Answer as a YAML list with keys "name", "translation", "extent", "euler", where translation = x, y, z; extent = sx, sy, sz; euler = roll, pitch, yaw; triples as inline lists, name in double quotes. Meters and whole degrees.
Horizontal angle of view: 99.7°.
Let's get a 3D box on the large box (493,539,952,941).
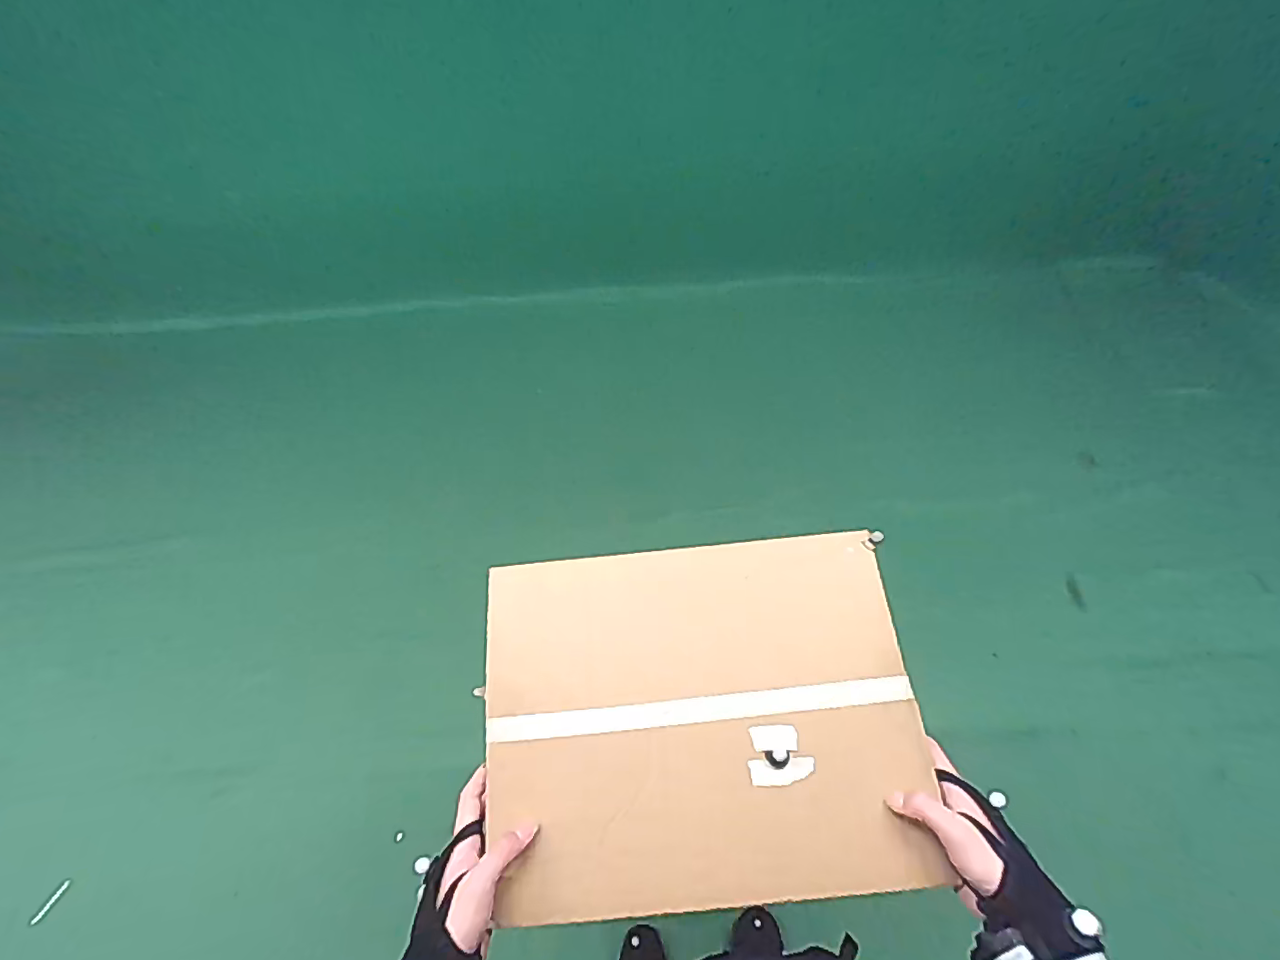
- name: "large box"
  translation: [0.061, 0.286, 0.657]
  extent: [0.408, 0.320, 0.320]
  euler: [-7, 68, -1]
